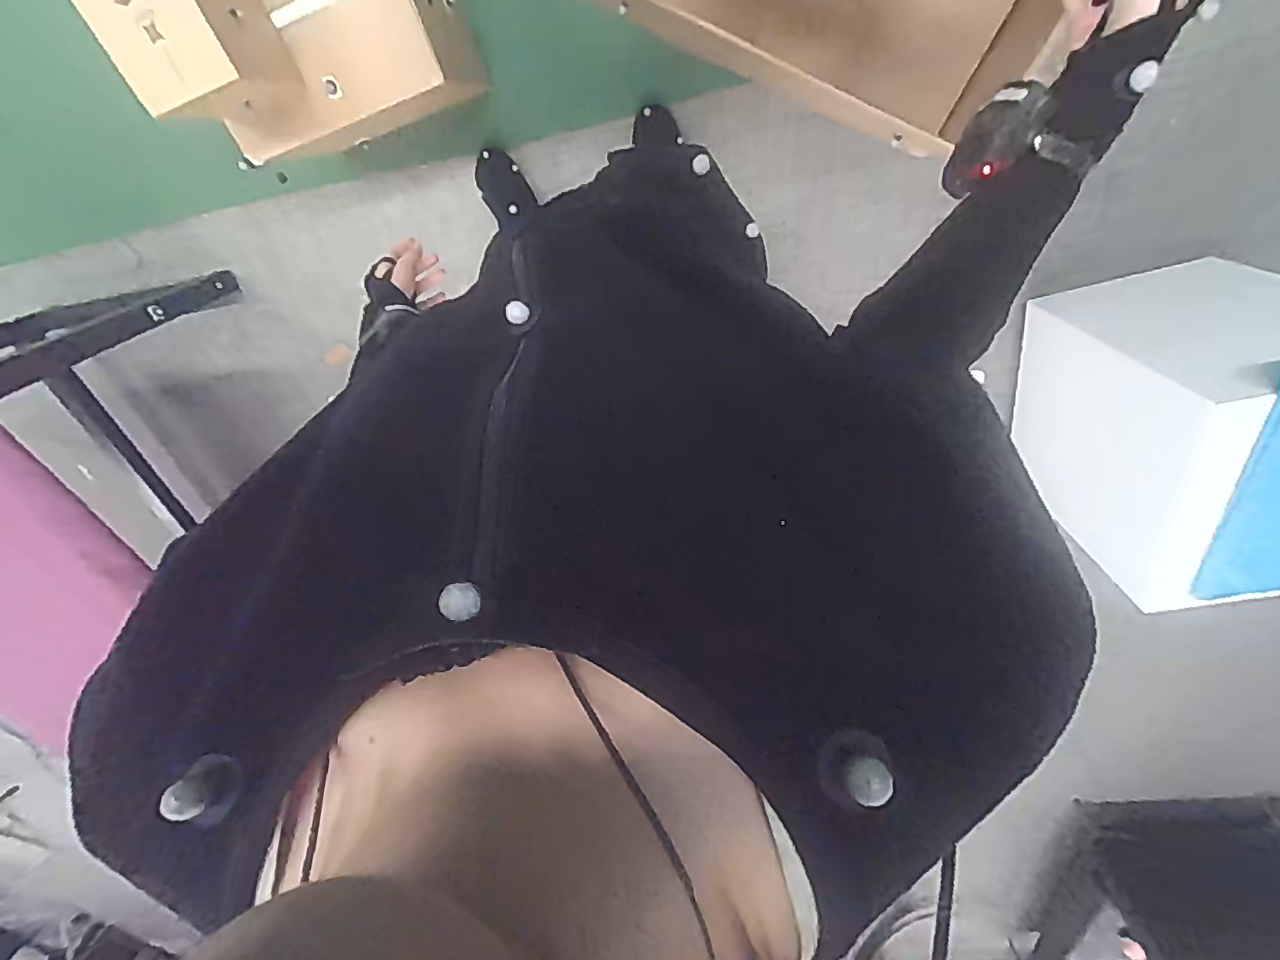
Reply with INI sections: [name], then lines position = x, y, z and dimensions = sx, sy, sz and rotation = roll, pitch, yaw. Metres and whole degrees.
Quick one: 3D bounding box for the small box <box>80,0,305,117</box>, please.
[small box]
position = -0.657, -0.666, 0.806
dimensions = 0.168, 0.176, 0.179
rotation = -13, 122, 12
